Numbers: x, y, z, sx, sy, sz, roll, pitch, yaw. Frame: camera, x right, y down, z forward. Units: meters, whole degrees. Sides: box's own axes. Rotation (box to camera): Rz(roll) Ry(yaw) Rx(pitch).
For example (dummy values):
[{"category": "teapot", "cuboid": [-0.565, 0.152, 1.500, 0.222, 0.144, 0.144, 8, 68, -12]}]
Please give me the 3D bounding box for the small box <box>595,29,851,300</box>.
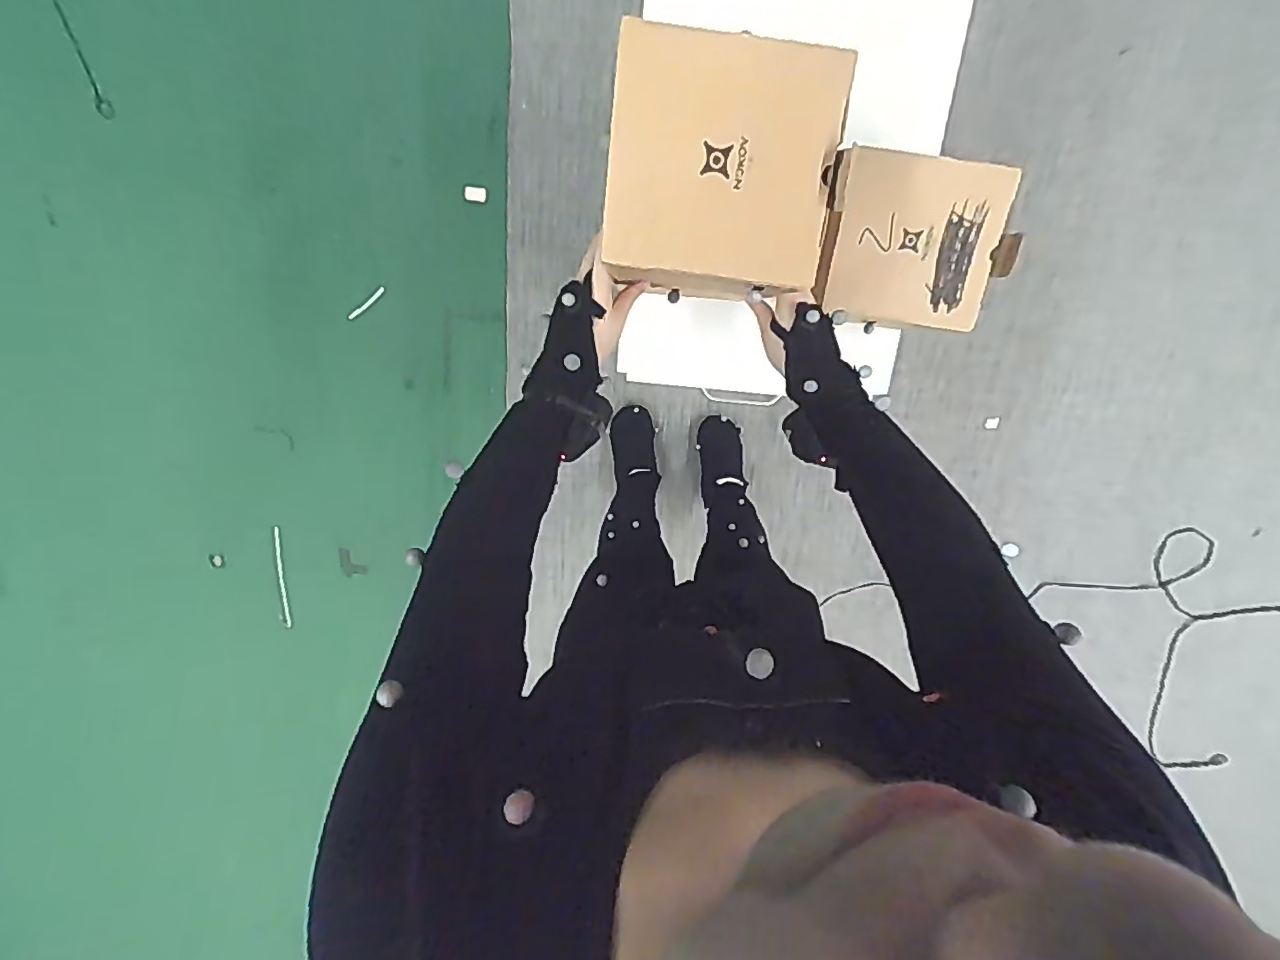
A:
[{"category": "small box", "cuboid": [0.058, -0.259, 0.489, 0.179, 0.176, 0.168, 6, 106, -3]}]
